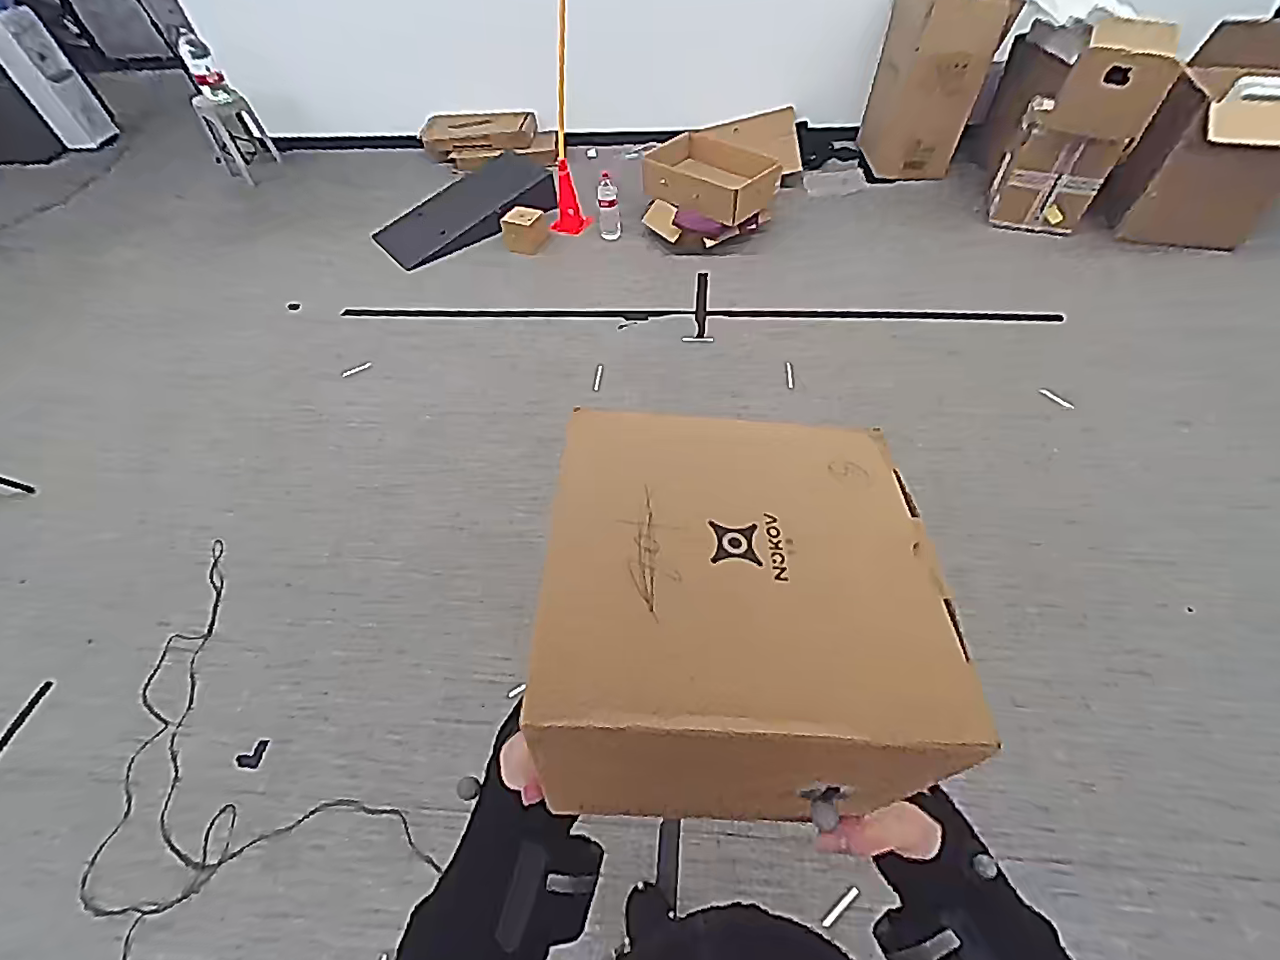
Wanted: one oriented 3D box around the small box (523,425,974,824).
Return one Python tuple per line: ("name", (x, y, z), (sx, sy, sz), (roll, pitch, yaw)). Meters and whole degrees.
("small box", (0.039, 0.089, 0.314), (0.179, 0.176, 0.168), (3, 49, -2))
